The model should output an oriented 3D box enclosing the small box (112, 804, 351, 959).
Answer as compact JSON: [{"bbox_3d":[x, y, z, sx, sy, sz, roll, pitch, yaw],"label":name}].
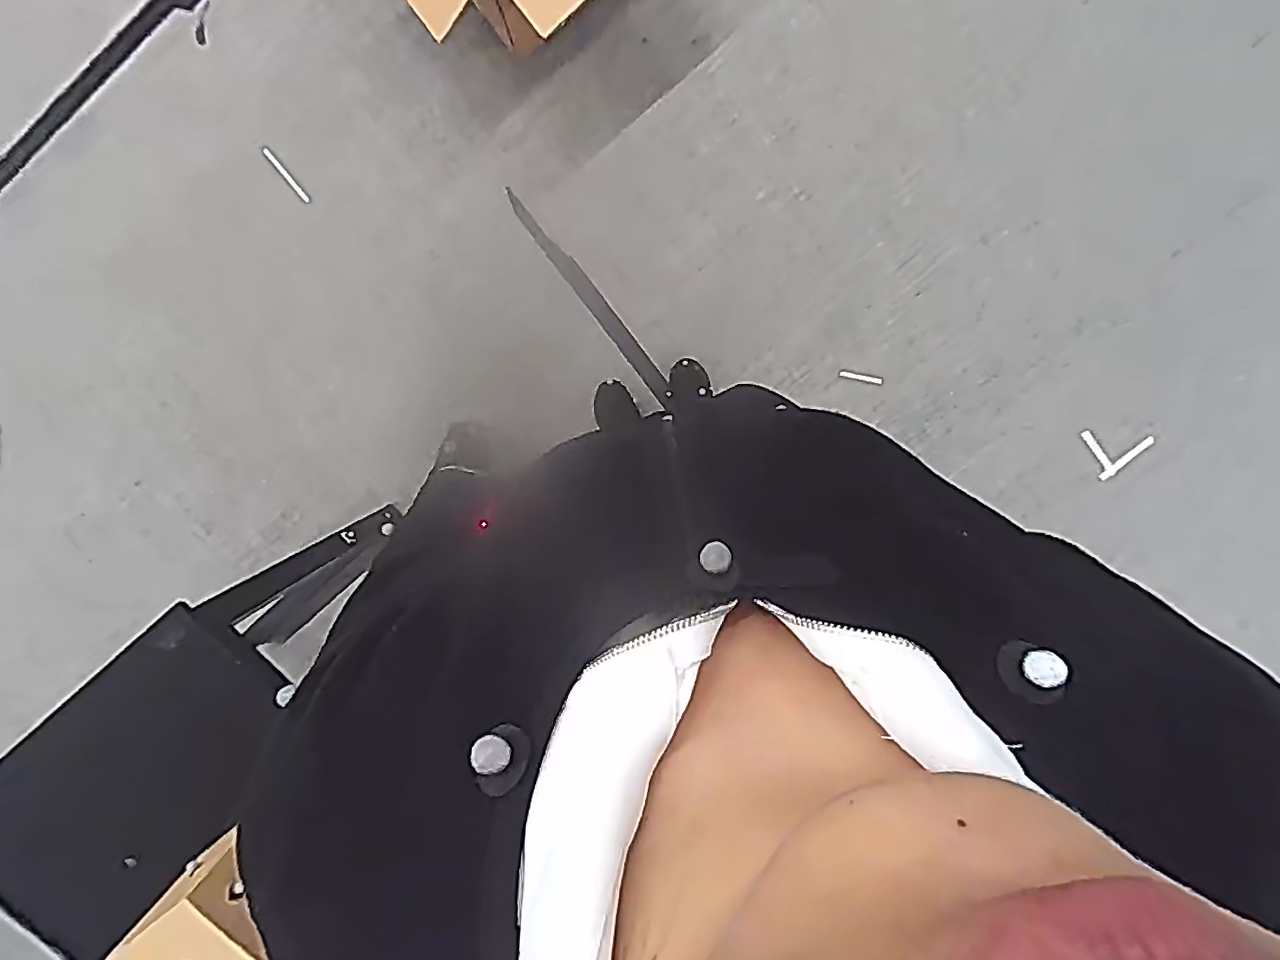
[{"bbox_3d":[-0.572,0.613,0.783,0.168,0.176,0.179,-40,98,8],"label":"small box"}]
